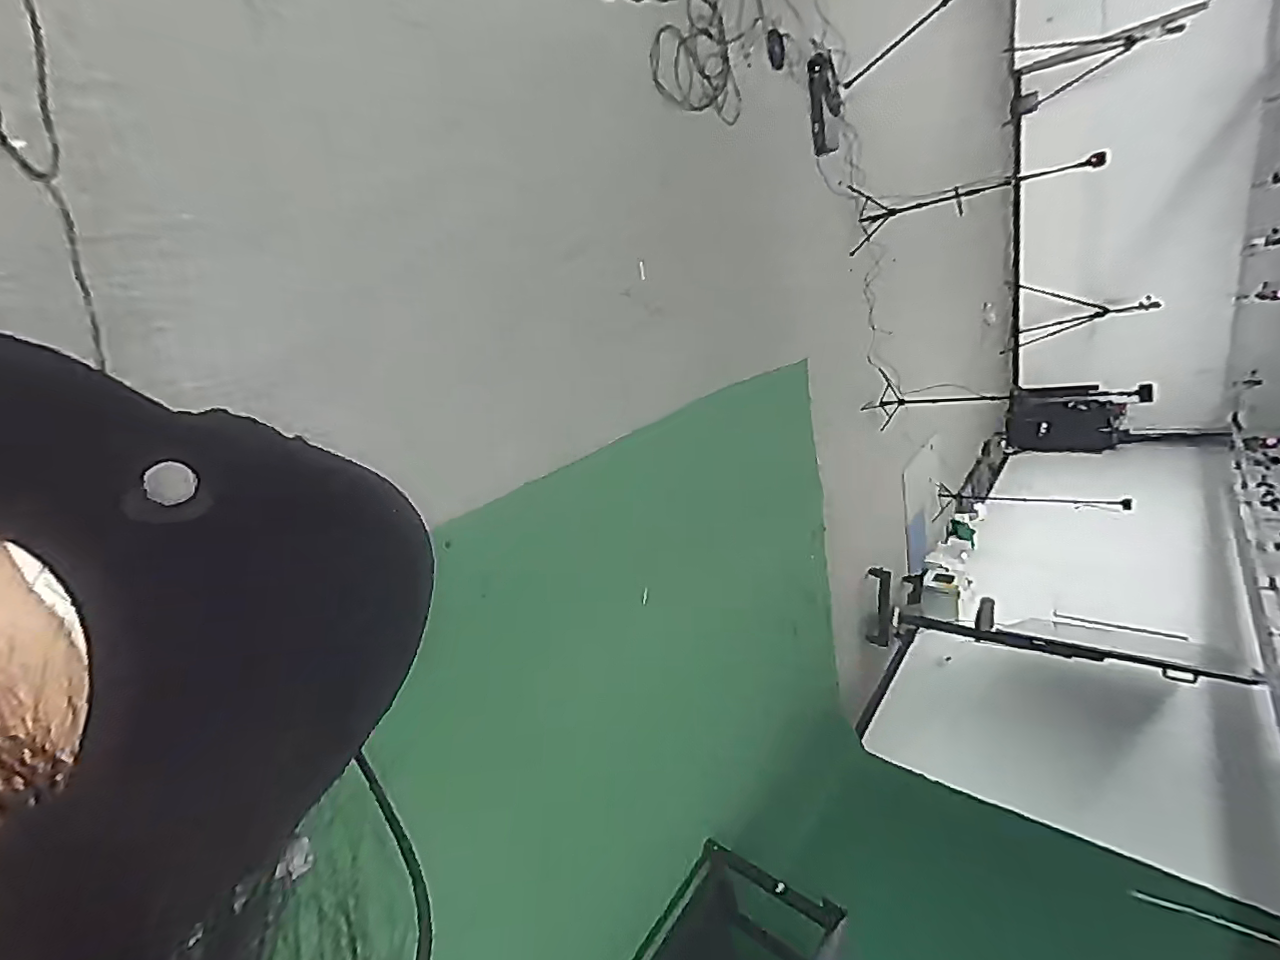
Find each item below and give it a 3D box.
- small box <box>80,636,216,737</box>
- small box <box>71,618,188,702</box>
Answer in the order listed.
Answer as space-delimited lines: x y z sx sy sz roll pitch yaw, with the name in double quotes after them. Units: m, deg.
-0.827 0.392 0.940 0.168 0.176 0.179 -28 114 -42 "small box"
-0.951 0.396 1.049 0.168 0.176 0.179 -31 115 -43 "small box"
